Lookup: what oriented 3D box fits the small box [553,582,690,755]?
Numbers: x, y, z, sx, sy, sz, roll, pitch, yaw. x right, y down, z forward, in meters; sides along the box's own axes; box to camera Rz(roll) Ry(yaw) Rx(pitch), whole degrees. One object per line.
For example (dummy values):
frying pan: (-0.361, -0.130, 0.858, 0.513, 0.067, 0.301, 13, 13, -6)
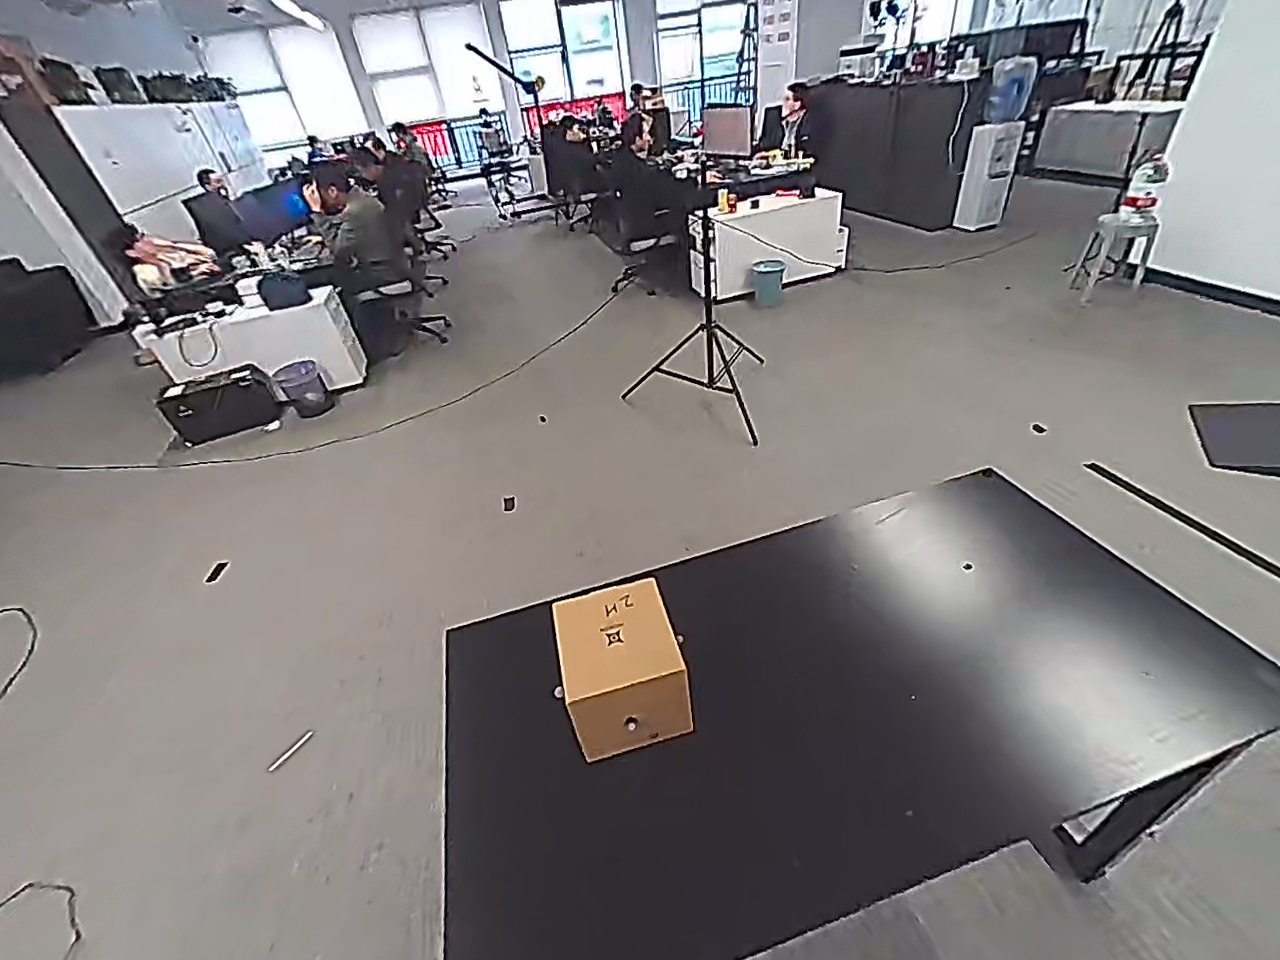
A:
small box: (-0.028, 0.292, 0.828, 0.168, 0.176, 0.179, -14, 36, -7)
